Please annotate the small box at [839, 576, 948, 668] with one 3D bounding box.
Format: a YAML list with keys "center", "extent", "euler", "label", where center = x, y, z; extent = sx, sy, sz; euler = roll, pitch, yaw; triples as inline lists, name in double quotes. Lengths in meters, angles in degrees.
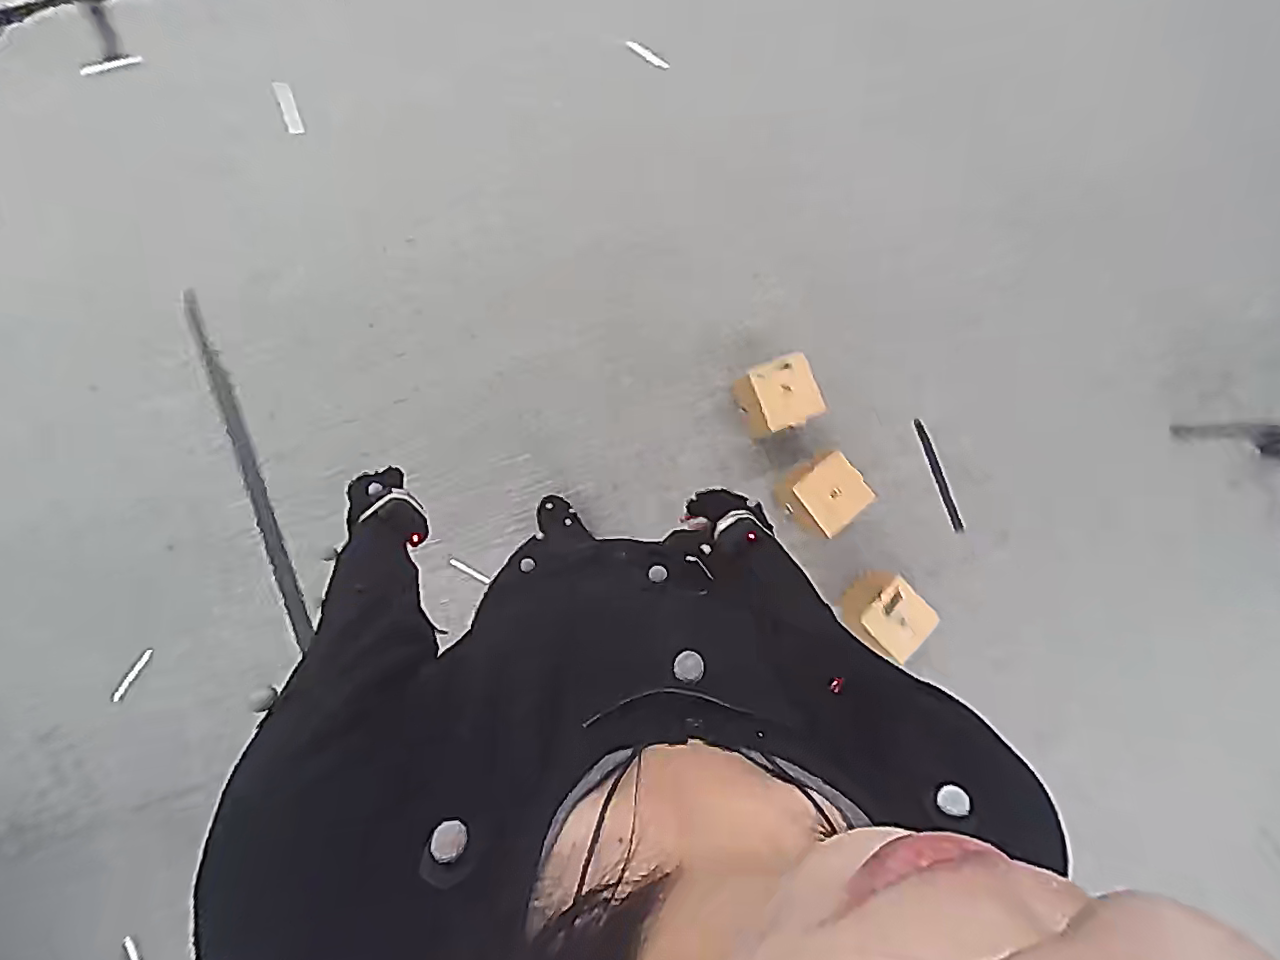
- center: [0.688, 0.381, 1.493]
  extent: [0.168, 0.176, 0.179]
  euler: [-44, 93, -6]
  label: "small box"

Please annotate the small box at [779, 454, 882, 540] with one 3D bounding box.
- center: [0.518, 0.048, 1.496]
  extent: [0.179, 0.176, 0.168]
  euler: [-38, 90, -6]
  label: "small box"

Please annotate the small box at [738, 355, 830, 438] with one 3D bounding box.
- center: [0.391, -0.221, 1.499]
  extent: [0.168, 0.176, 0.179]
  euler: [-20, 89, -7]
  label: "small box"
